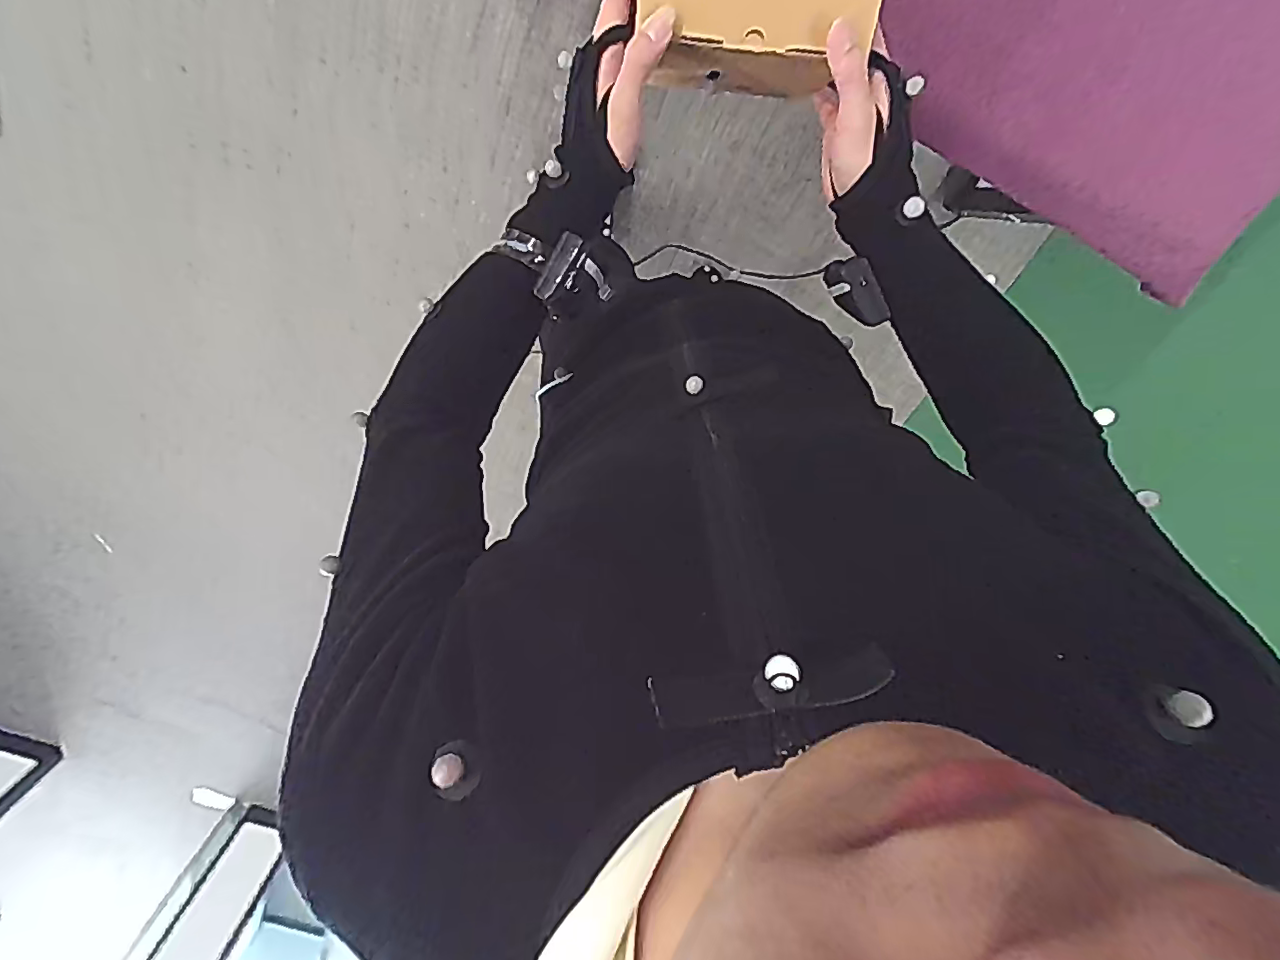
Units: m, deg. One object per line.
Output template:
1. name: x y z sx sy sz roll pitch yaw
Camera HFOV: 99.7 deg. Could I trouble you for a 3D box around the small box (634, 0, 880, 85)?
1. small box: 0.084 -0.419 0.401 0.168 0.176 0.179 4 120 -3
